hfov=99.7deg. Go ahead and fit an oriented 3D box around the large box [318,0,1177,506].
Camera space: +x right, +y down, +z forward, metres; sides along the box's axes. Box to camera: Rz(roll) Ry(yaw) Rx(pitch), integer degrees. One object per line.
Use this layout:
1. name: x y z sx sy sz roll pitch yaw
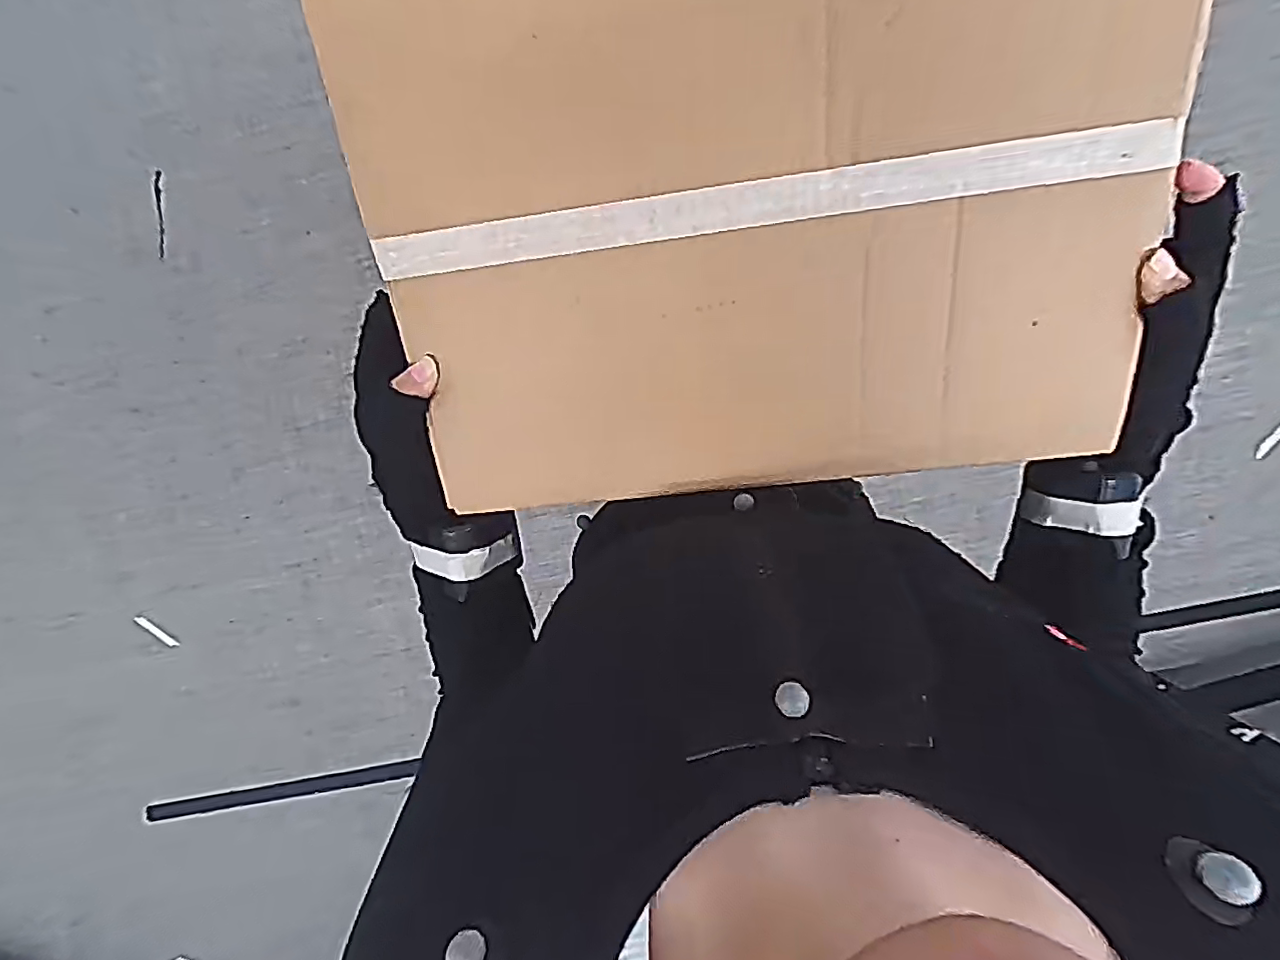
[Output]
1. large box: 0.060 -0.200 0.426 0.408 0.320 0.320 -6 113 5
